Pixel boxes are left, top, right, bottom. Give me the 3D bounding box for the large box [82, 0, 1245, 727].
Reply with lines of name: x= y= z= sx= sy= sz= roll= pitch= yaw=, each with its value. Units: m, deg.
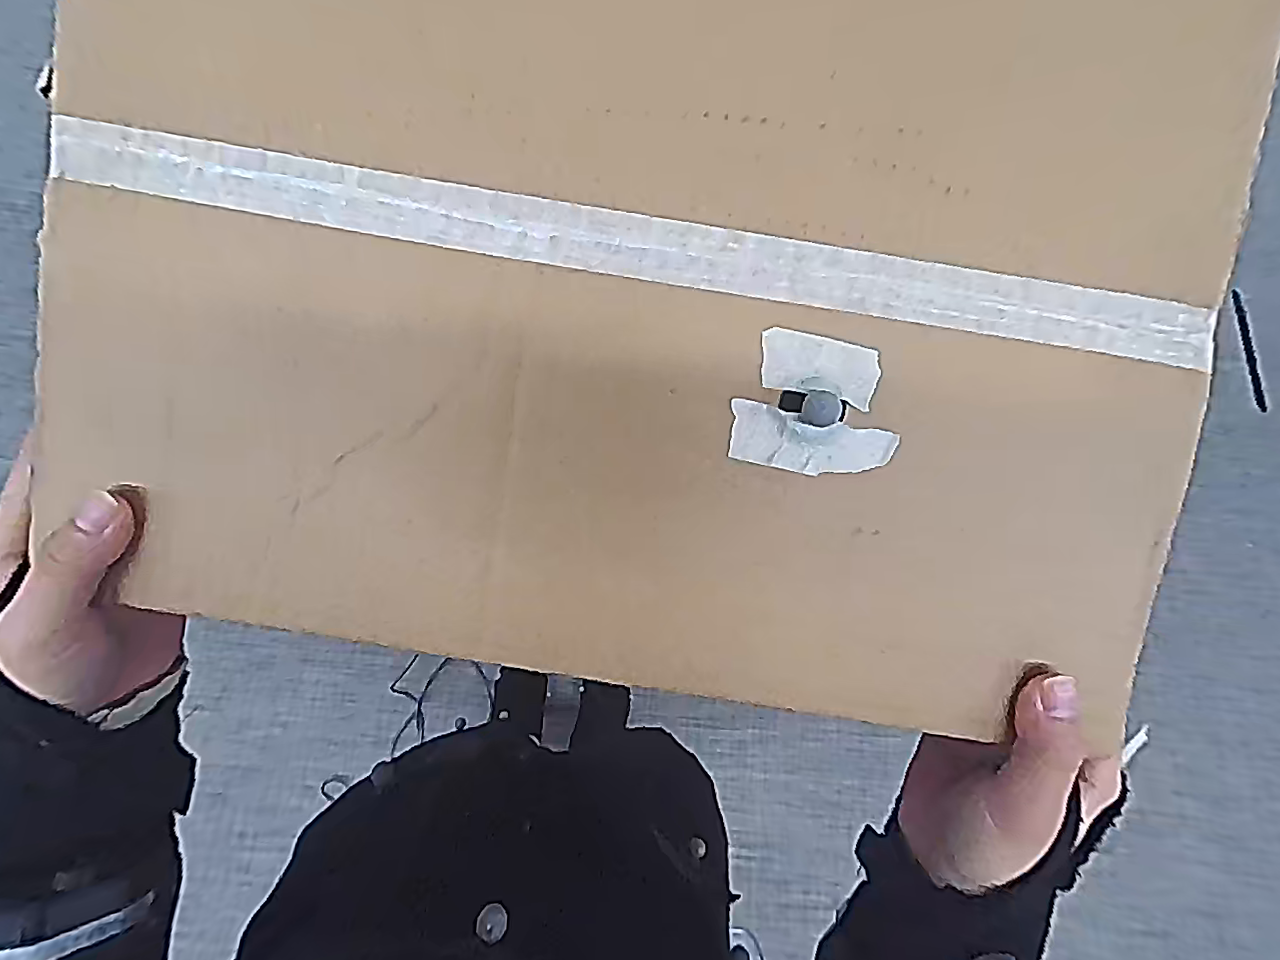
large box: x=0.002 y=-0.087 z=0.350 sx=0.408 sy=0.320 sz=0.320 roll=9 pitch=95 yaw=-2
